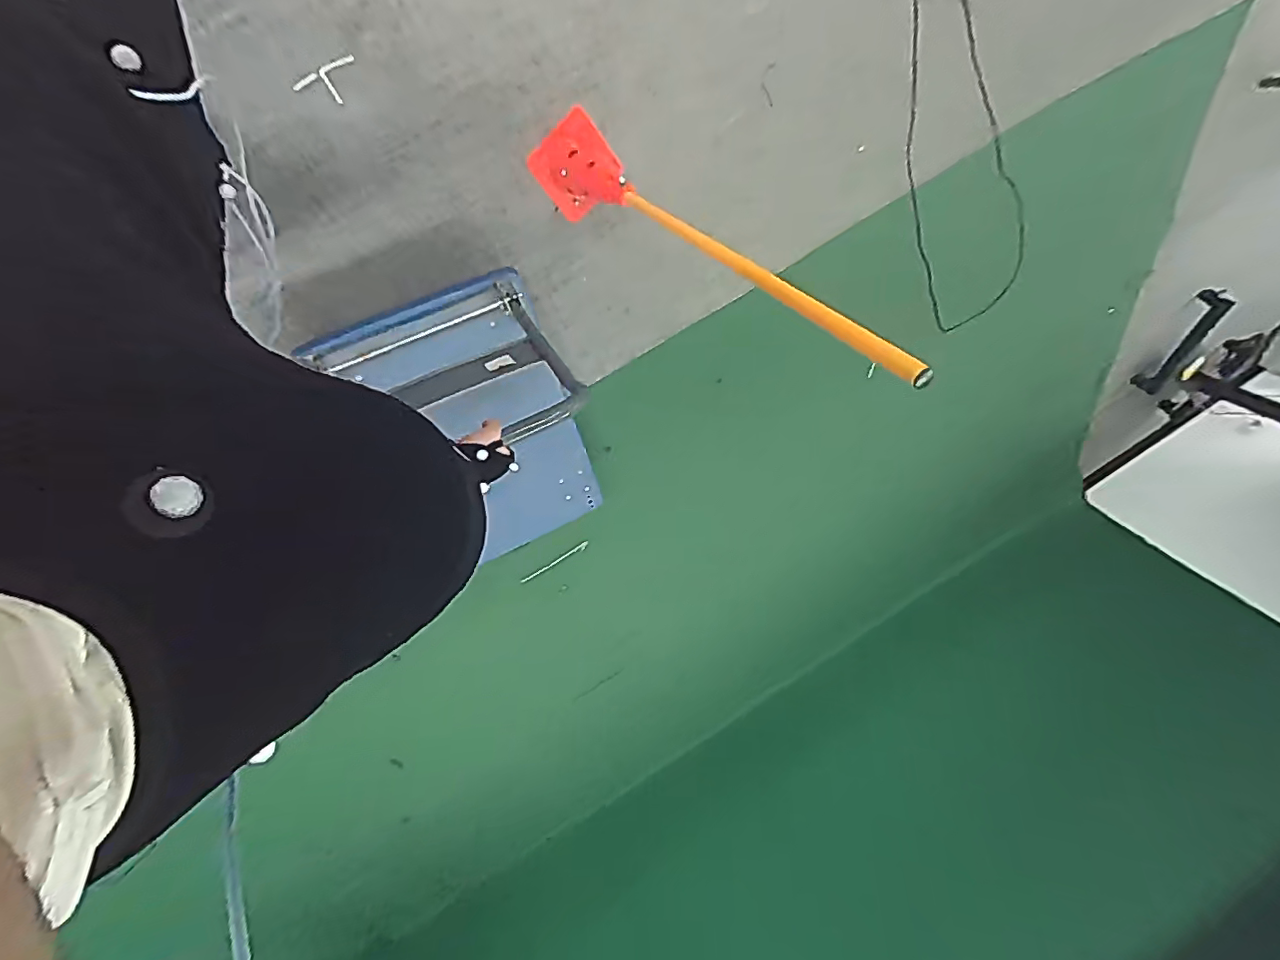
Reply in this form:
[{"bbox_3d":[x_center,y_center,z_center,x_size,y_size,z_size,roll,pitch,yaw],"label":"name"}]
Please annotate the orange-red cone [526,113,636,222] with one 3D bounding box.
[{"bbox_3d":[-0.099,-0.710,1.288,0.199,0.360,0.198,-43,136,6],"label":"orange-red cone"}]
